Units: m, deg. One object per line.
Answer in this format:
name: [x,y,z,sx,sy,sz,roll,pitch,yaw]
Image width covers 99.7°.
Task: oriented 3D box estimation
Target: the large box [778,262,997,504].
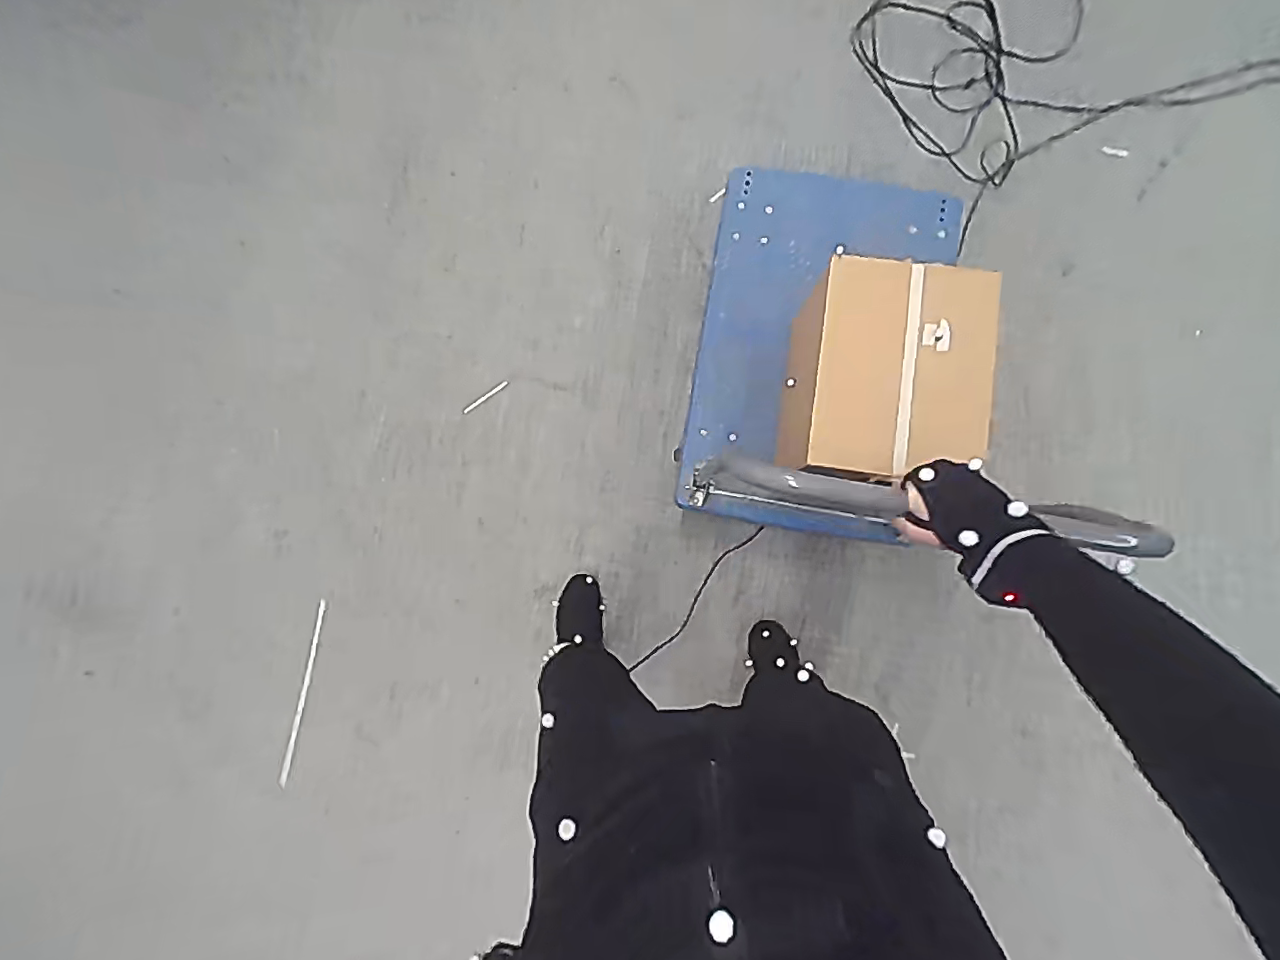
large box: [0.489,-0.175,1.131,0.320,0.320,0.408,9,83,2]
